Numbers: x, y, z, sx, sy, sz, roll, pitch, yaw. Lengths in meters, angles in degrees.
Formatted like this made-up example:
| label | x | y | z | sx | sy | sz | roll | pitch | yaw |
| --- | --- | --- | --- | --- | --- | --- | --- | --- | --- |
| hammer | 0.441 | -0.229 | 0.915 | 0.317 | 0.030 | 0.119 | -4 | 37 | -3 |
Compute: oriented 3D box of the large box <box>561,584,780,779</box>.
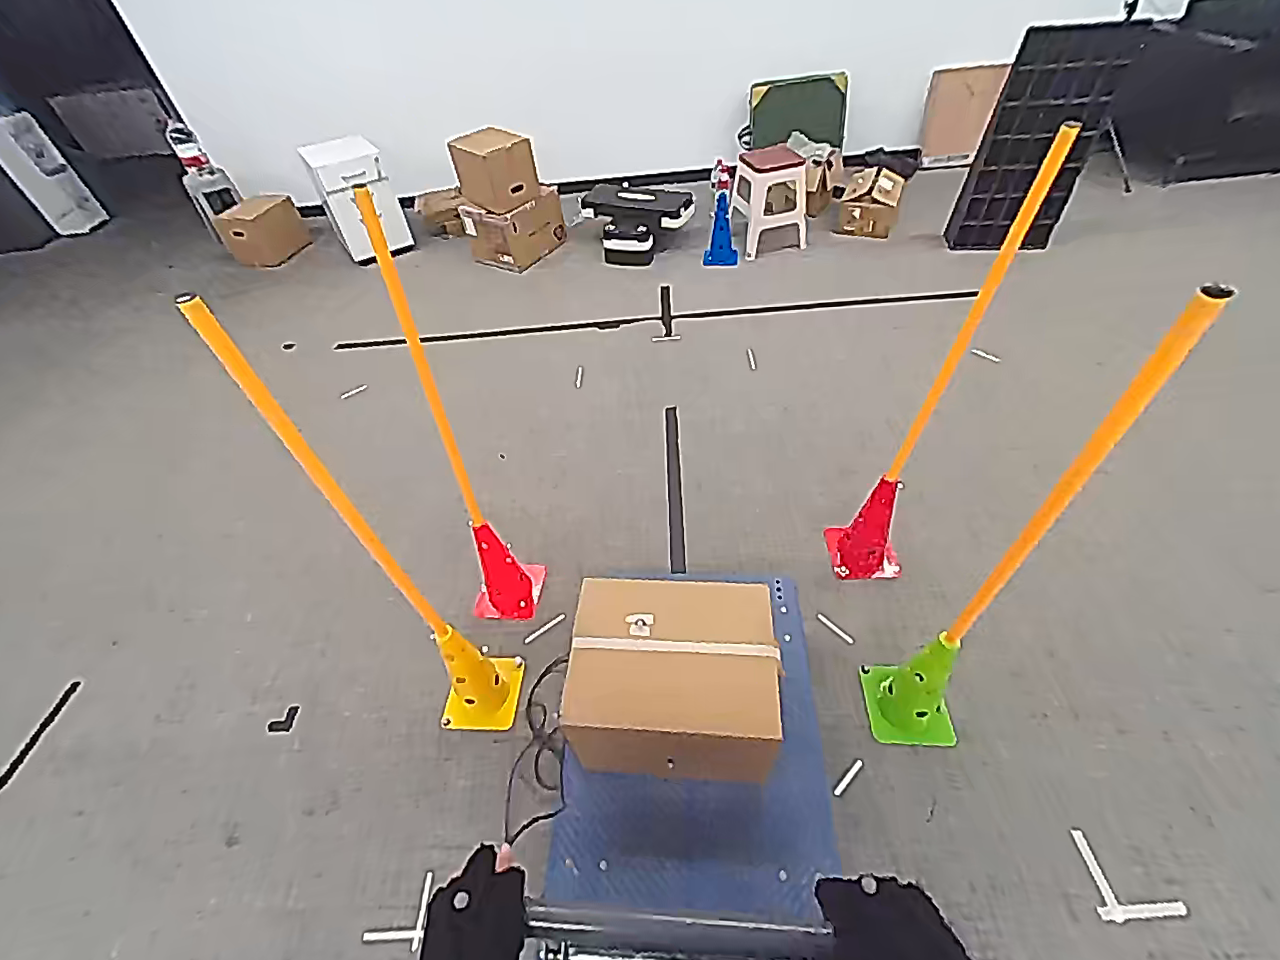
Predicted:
| label | x | y | z | sx | sy | sz | roll | pitch | yaw |
| --- | --- | --- | --- | --- | --- | --- | --- | --- | --- |
| large box | 0.077 | 0.440 | 1.180 | 0.408 | 0.320 | 0.320 | 0 | 47 | 7 |

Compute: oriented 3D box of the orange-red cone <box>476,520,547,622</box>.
| label | x | y | z | sx | sy | sz | roll | pitch | yaw |
| --- | --- | --- | --- | --- | --- | --- | --- | --- | --- |
| orange-red cone | -0.425 | 0.245 | 1.626 | 0.198 | 0.360 | 0.199 | 2 | 46 | 8 |

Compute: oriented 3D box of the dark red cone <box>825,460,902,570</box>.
| label | x | y | z | sx | sy | sz | roll | pitch | yaw |
| --- | --- | --- | --- | --- | --- | --- | --- | --- | --- |
| dark red cone | 0.698 | 0.093 | 1.603 | 0.201 | 0.394 | 0.202 | -3 | 47 | 2 |

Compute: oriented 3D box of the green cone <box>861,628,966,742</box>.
| label | x | y | z | sx | sy | sz | roll | pitch | yaw |
| --- | --- | --- | --- | --- | --- | --- | --- | --- | --- |
| green cone | 0.683 | 0.459 | 1.284 | 0.202 | 0.368 | 0.200 | 0 | 47 | 5 |
